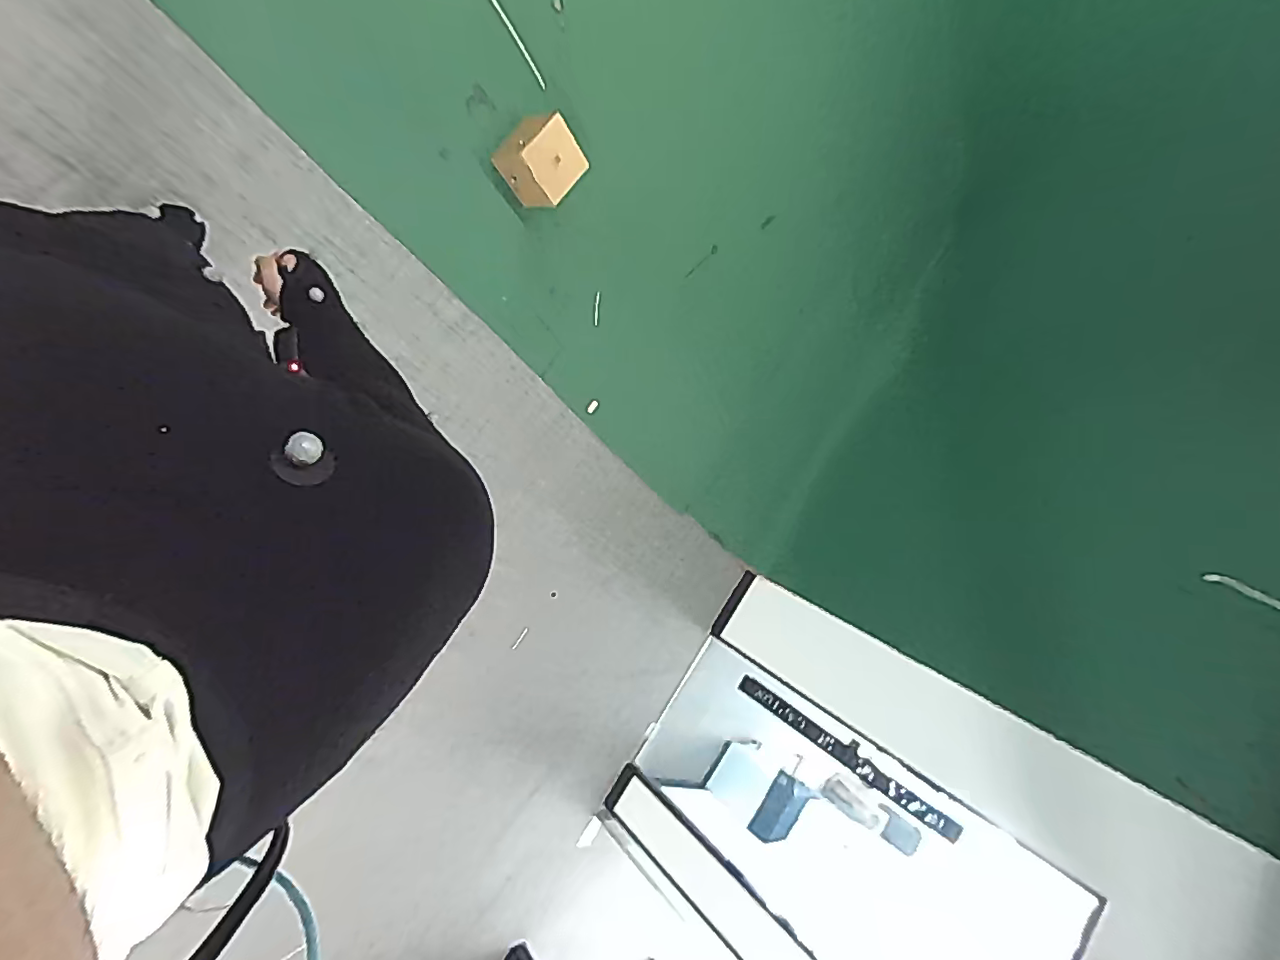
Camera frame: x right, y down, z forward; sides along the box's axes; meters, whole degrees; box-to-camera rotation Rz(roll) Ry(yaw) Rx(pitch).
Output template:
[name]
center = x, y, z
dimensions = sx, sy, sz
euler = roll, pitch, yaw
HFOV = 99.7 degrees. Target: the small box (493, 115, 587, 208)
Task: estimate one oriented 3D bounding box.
[small box]
center = -0.296, -0.932, 1.589
dimensions = 0.179, 0.176, 0.168
euler = -55, 139, -9
